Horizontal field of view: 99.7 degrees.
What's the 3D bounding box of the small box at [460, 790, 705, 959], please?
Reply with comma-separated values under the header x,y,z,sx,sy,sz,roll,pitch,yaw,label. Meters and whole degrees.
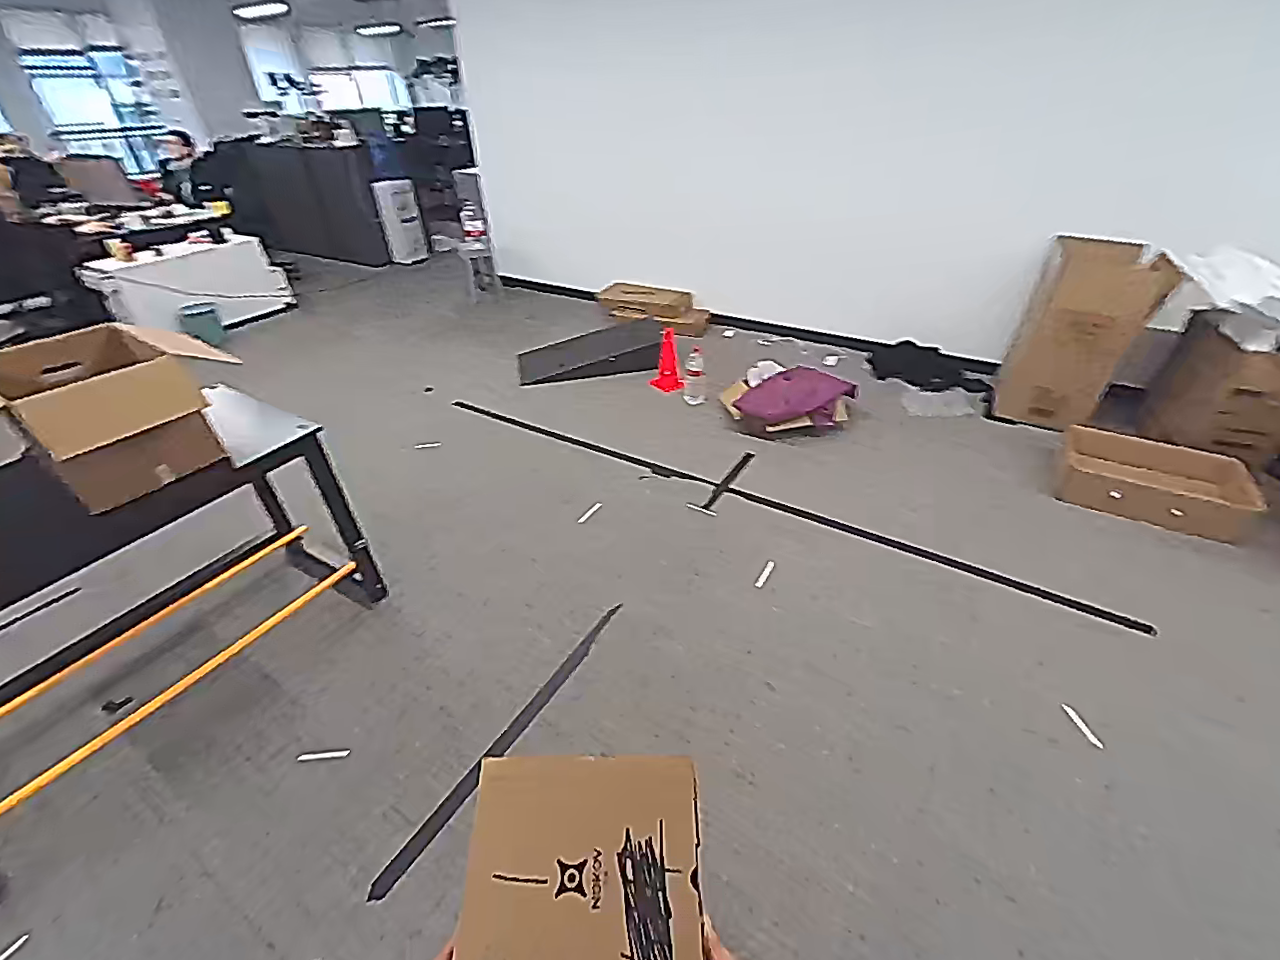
x,y,z,sx,sy,sz,roll,pitch,yaw,label
-0.042,0.368,0.460,0.179,0.176,0.168,-1,53,0,small box
